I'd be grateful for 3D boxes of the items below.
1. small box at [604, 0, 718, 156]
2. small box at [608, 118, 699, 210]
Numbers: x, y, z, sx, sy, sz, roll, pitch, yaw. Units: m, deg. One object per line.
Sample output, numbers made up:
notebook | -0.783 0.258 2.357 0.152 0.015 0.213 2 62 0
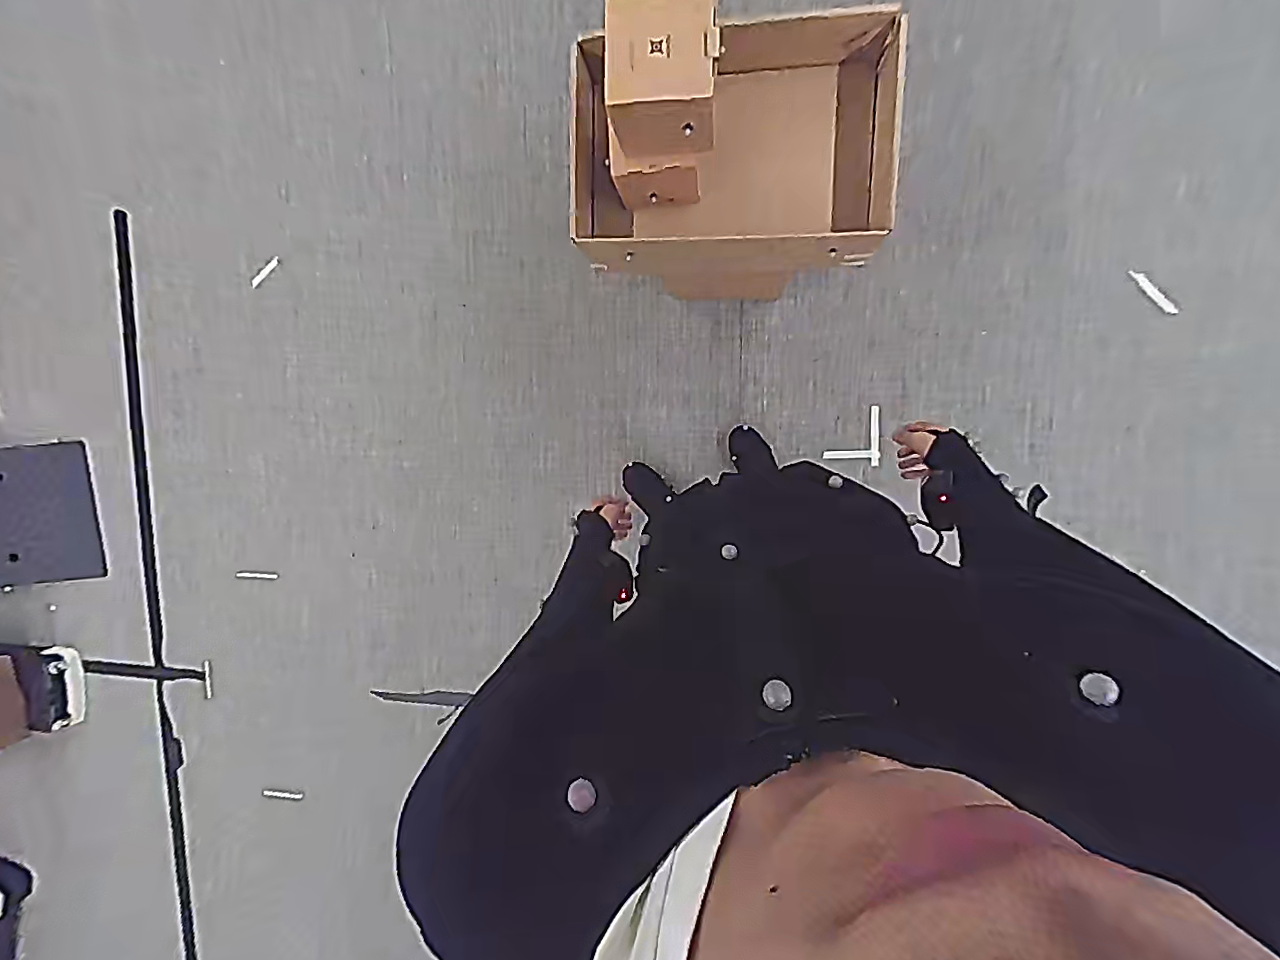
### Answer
small box | 0.040 -0.680 0.920 0.179 0.176 0.168 2 95 8
small box | 0.031 -0.673 1.088 0.168 0.176 0.179 -3 95 9
